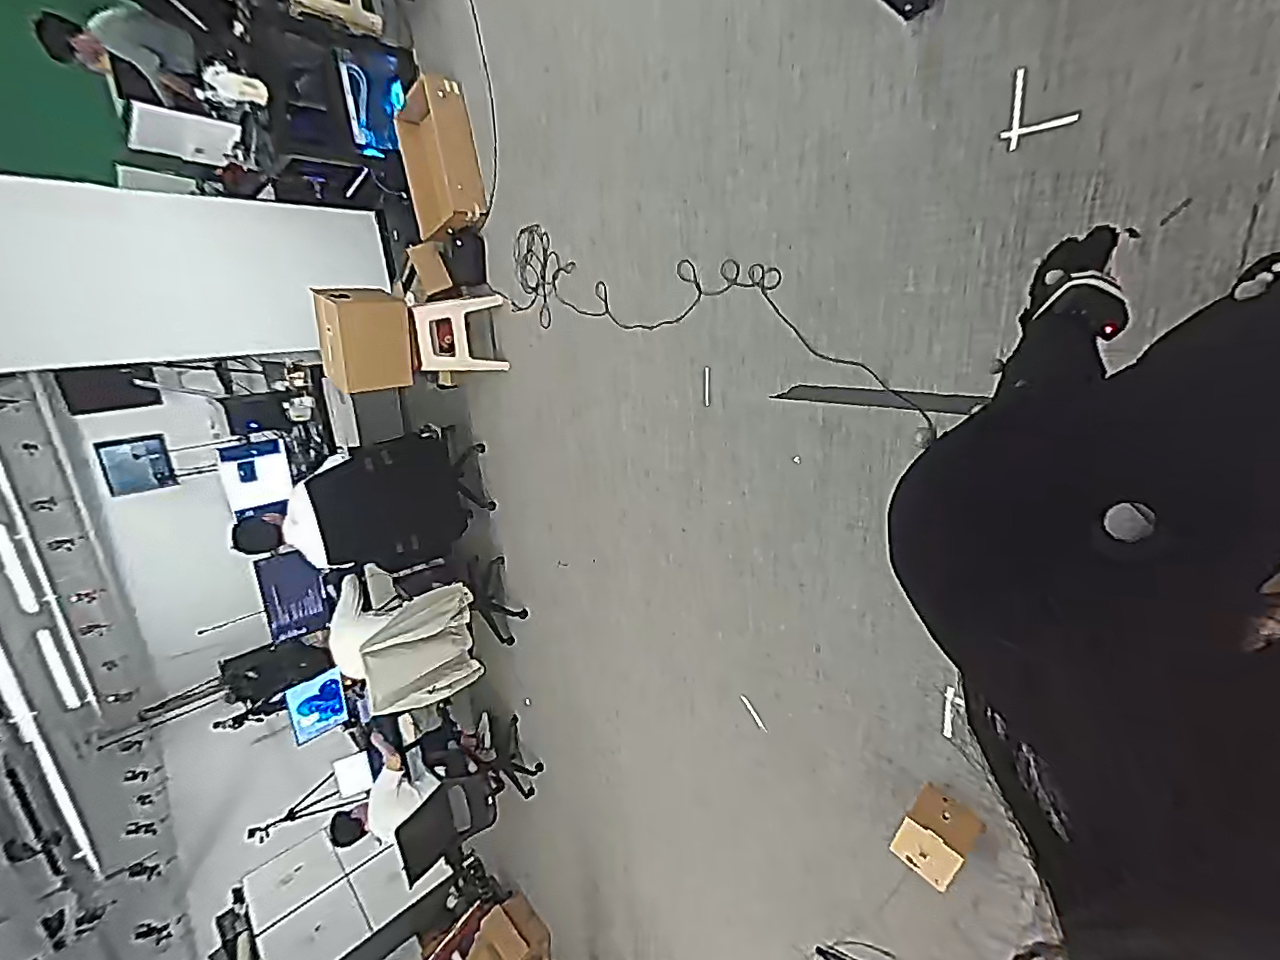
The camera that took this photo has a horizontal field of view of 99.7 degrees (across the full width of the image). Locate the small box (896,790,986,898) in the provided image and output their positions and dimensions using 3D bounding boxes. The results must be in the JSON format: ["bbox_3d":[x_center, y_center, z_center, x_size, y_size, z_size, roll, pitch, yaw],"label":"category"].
[{"bbox_3d":[0.909,1.083,1.624,0.168,0.176,0.179,30,124,38],"label":"small box"}]
